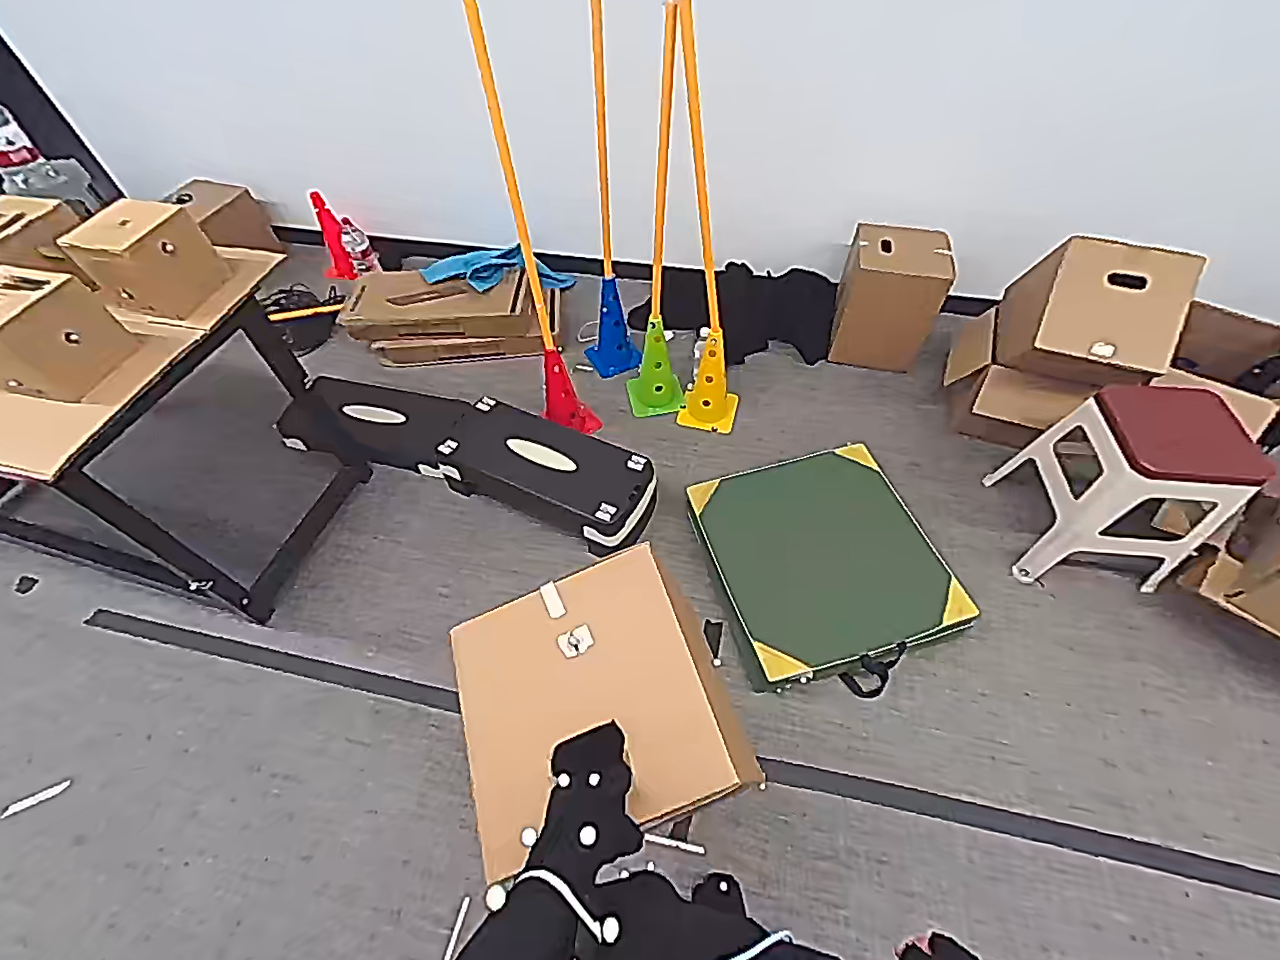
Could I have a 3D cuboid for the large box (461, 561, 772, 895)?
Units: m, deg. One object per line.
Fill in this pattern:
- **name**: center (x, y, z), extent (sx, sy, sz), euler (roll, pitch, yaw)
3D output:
- **large box**: center (-0.017, 0.372, 0.844), extent (0.320, 0.408, 0.320), euler (-24, 59, 5)
